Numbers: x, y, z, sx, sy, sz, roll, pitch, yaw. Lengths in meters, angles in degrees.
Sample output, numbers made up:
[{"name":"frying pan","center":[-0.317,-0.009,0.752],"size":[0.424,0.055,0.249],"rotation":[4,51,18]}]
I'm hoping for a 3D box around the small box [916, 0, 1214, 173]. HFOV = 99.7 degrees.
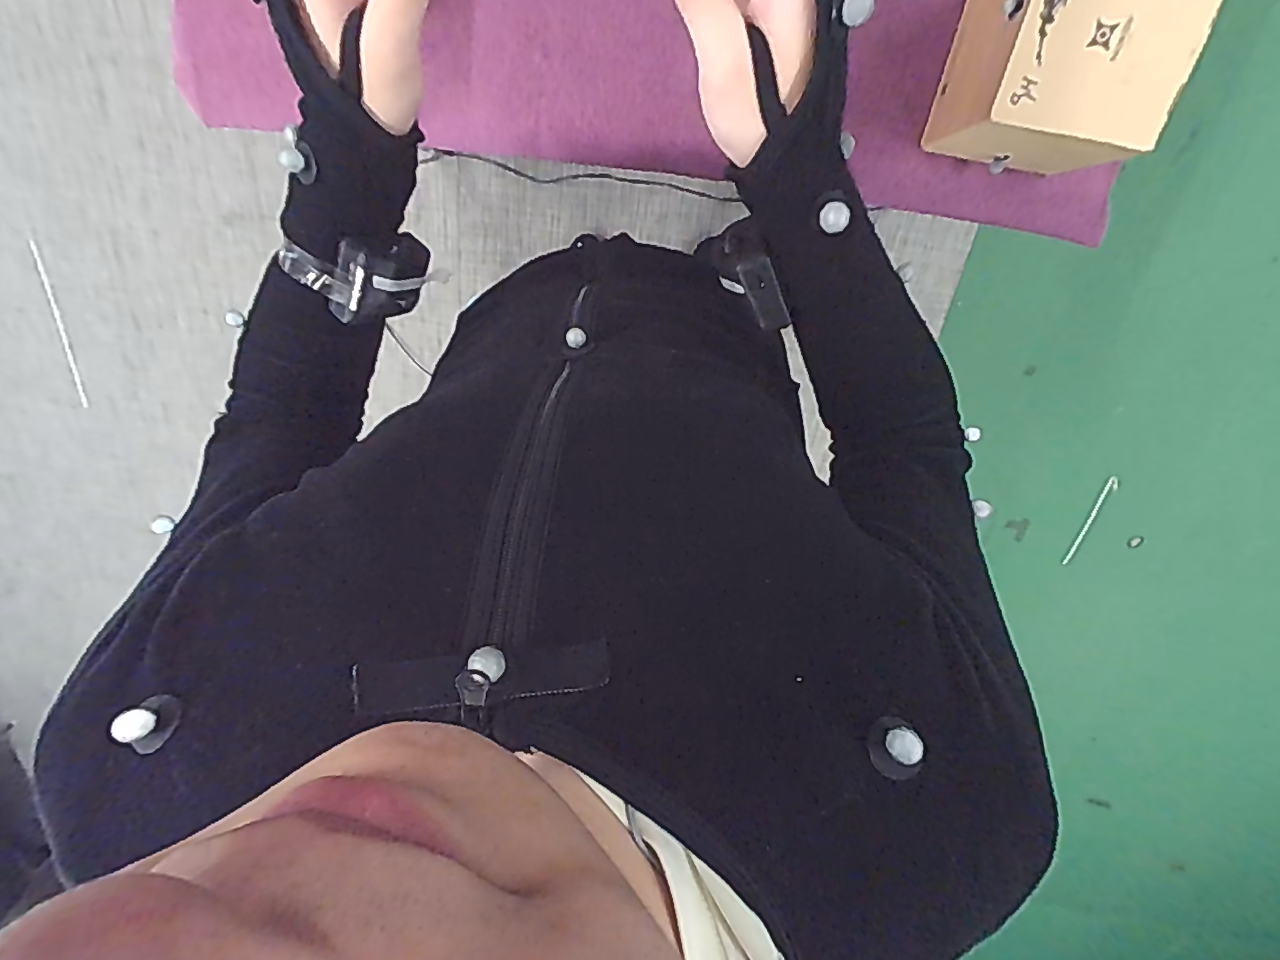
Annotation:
[{"name":"small box","center":[0.450,-0.454,0.599],"size":[0.179,0.176,0.168],"rotation":[10,112,-2]}]
